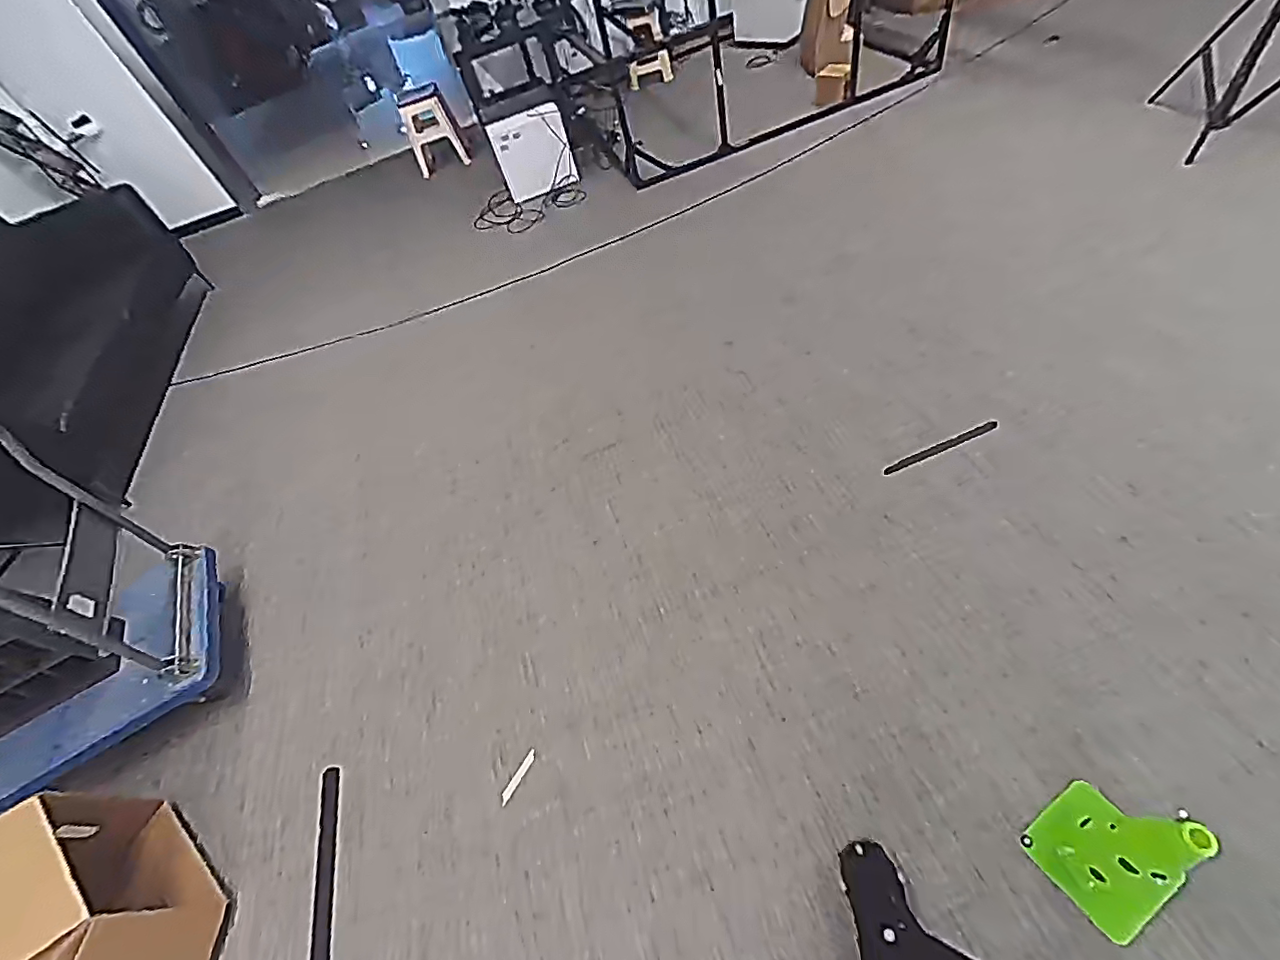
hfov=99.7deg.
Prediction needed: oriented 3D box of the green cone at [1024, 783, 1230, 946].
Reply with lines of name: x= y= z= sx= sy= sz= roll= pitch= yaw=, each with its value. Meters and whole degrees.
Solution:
green cone: x=0.847 y=0.617 z=0.899 sx=0.202 sy=0.368 sz=0.200 roll=-34 pitch=51 yaw=-12
